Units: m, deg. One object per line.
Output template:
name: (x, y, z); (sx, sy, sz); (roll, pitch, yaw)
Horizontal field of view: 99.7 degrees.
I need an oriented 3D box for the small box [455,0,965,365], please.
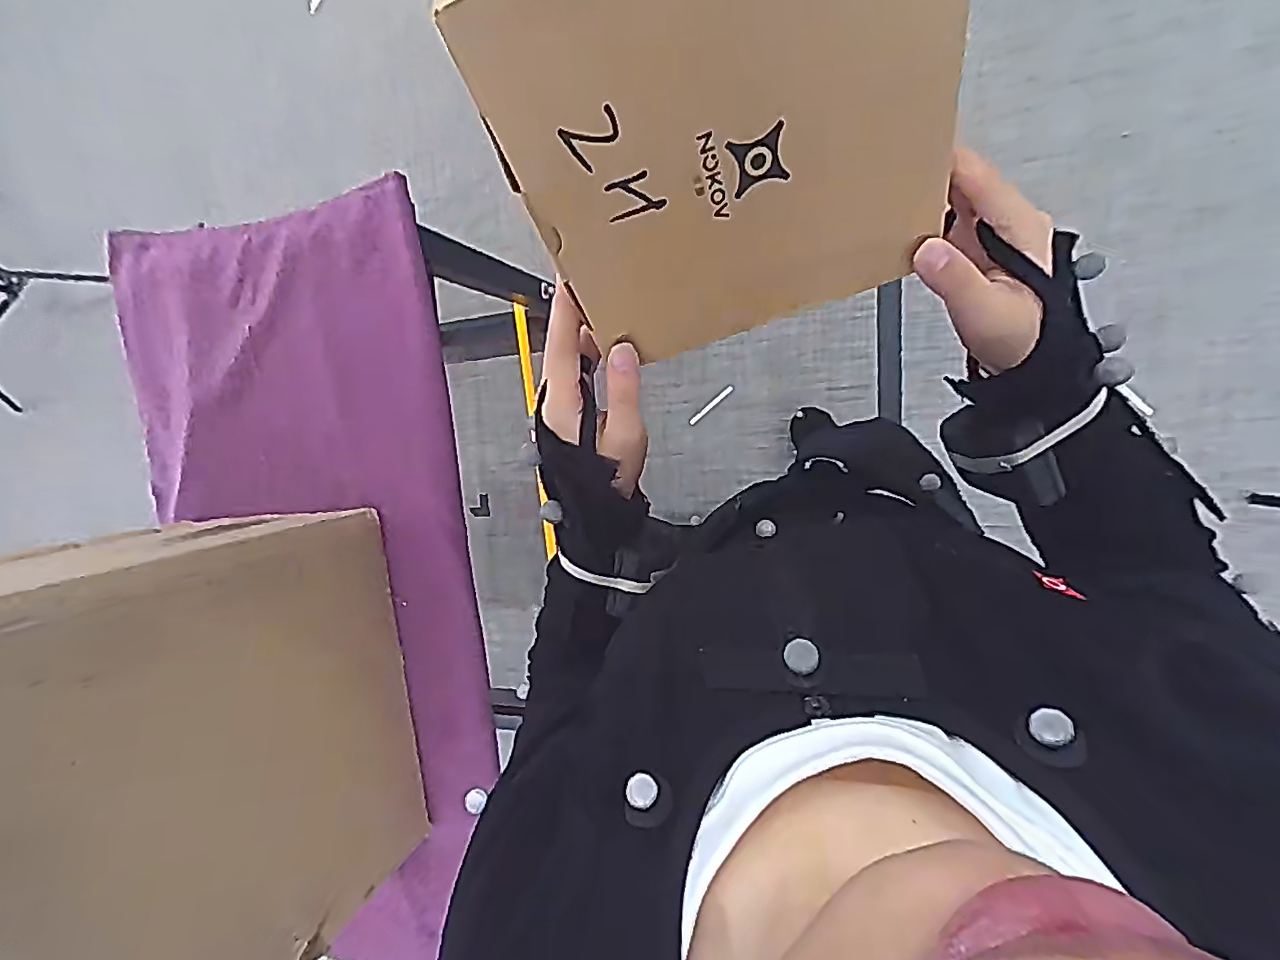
small box: (0.033, -0.195, 0.275); (0.179, 0.168, 0.176); (-16, 50, 11)
